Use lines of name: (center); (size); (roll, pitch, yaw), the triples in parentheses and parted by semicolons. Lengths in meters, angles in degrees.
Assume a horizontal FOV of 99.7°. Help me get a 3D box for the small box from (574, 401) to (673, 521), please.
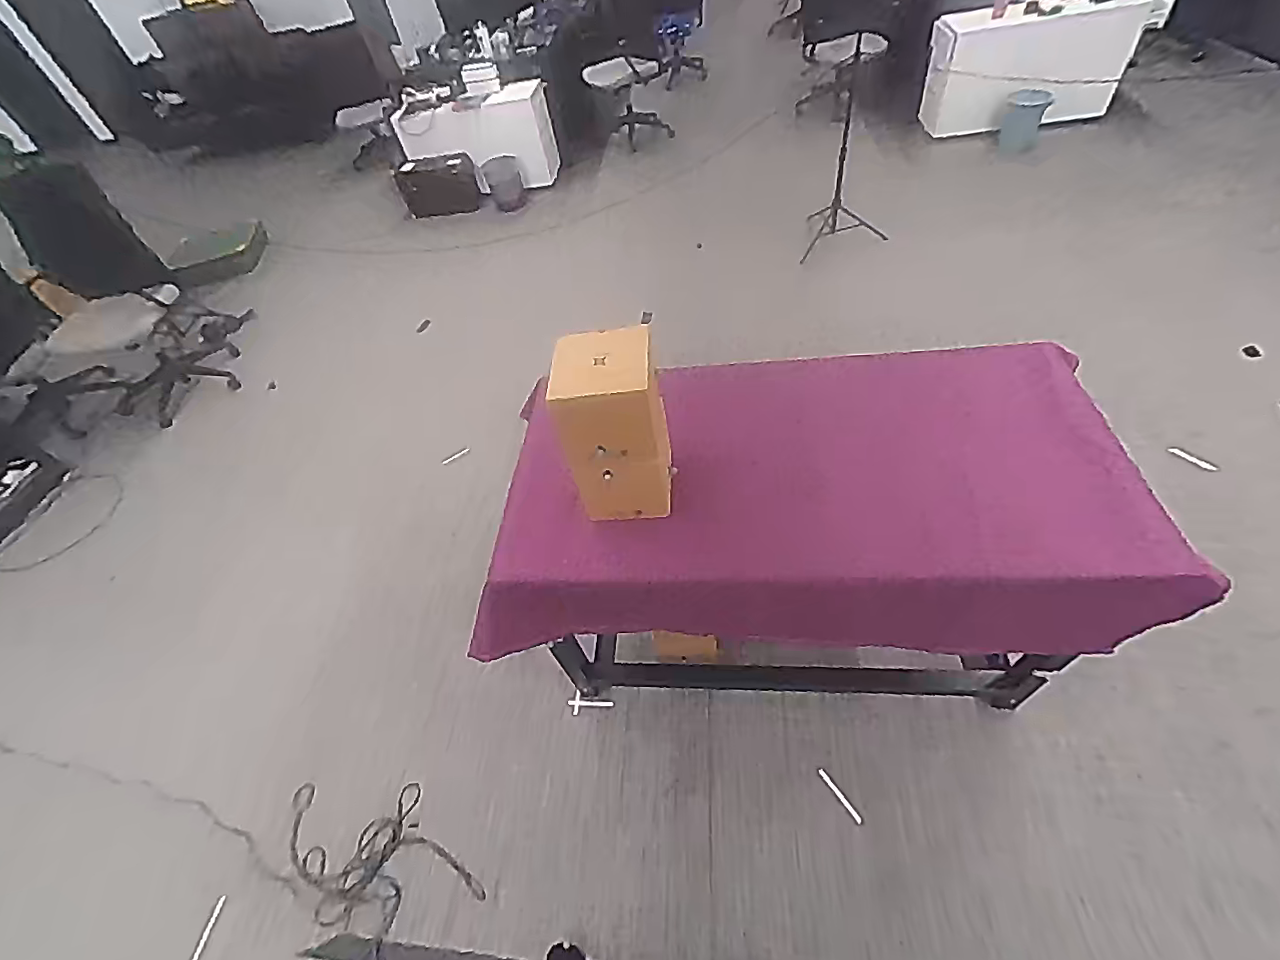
small box: (-0.024, -0.036, 1.080); (0.168, 0.176, 0.179); (-3, 49, 8)

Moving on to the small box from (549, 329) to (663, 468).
small box: (-0.051, -0.142, 0.959); (0.168, 0.176, 0.179); (-4, 50, 7)
